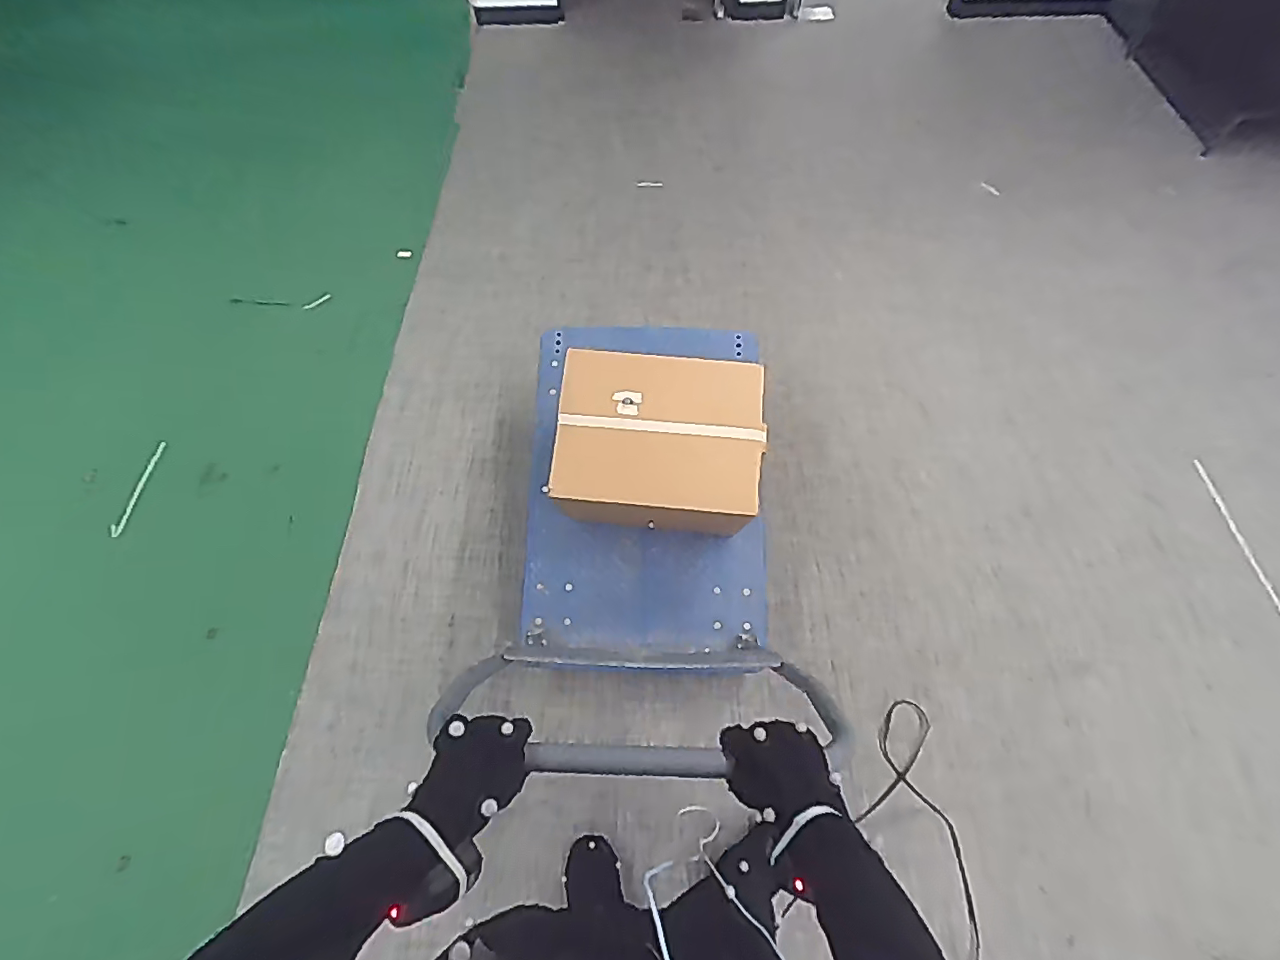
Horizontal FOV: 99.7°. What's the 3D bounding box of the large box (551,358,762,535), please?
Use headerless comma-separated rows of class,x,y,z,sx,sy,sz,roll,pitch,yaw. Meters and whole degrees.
large box,0.044,-0.056,1.208,0.408,0.320,0.320,5,77,3
